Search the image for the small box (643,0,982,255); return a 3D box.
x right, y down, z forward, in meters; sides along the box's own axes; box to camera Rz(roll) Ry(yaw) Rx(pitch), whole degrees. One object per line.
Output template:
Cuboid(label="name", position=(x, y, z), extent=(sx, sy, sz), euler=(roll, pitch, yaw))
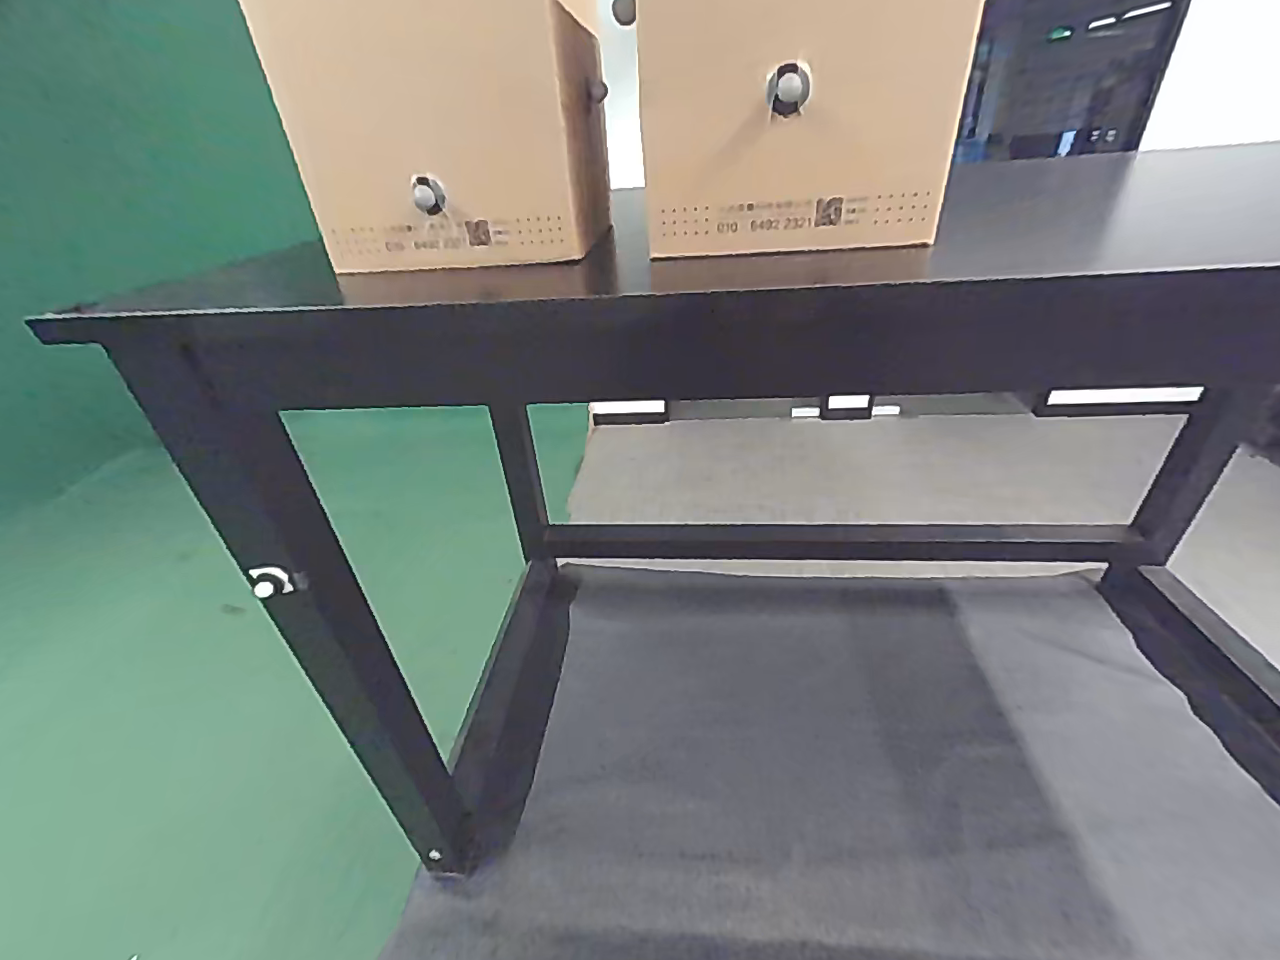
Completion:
Cuboid(label="small box", position=(0.095, -0.244, 0.343), extent=(0.168, 0.176, 0.179), euler=(1, 33, 7))
